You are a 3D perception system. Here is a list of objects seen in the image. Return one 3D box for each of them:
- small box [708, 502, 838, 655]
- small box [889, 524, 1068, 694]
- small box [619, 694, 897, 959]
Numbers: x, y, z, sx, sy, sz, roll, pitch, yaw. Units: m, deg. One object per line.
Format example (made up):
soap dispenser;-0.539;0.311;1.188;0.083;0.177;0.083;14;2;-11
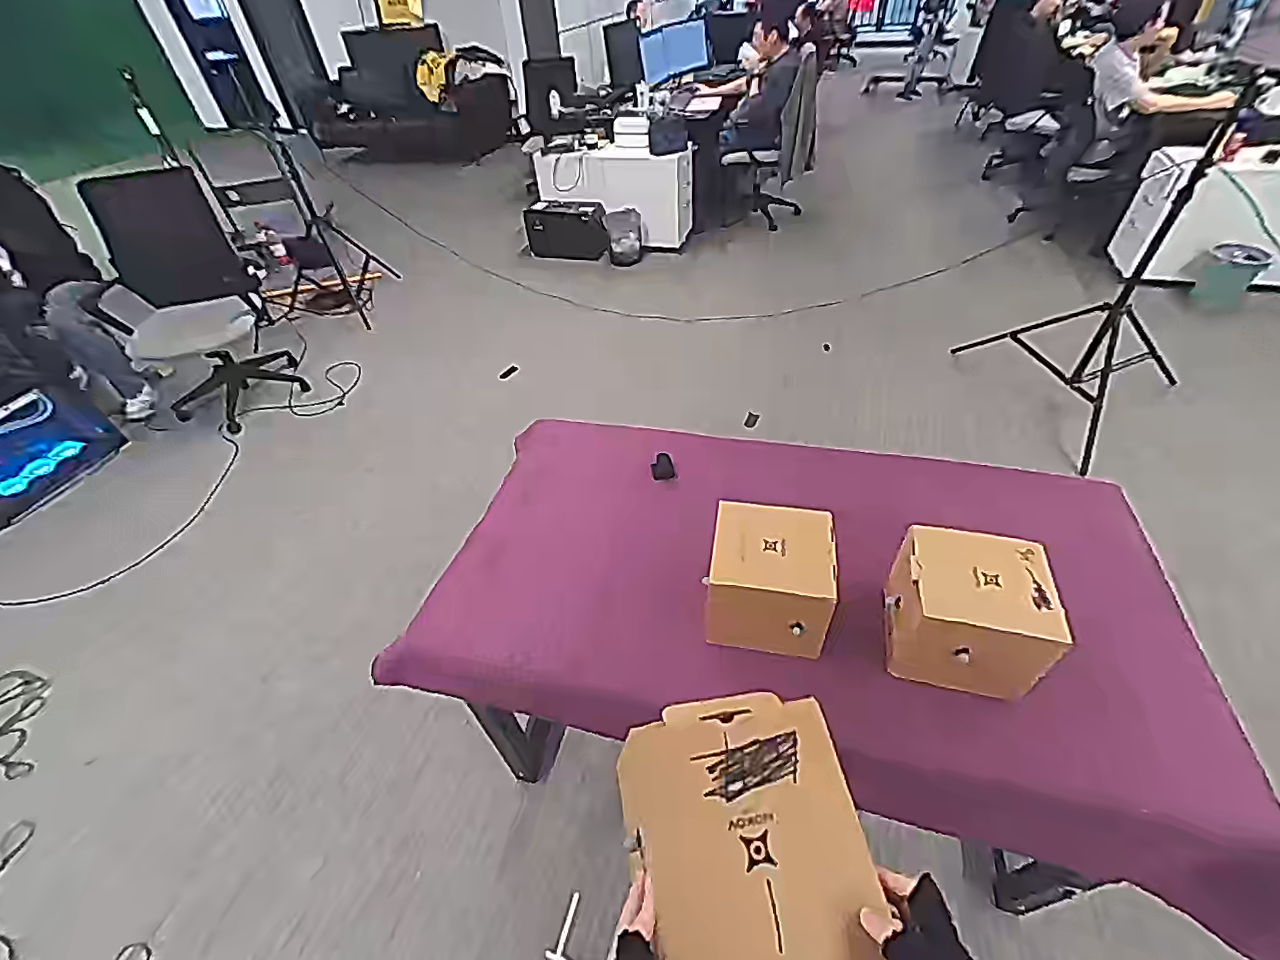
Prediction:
small box;0.203;0.157;0.855;0.179;0.176;0.168;4;43;11
small box;0.474;0.190;0.794;0.179;0.176;0.168;8;45;14
small box;0.077;0.307;0.468;0.168;0.176;0.179;-4;54;-10
